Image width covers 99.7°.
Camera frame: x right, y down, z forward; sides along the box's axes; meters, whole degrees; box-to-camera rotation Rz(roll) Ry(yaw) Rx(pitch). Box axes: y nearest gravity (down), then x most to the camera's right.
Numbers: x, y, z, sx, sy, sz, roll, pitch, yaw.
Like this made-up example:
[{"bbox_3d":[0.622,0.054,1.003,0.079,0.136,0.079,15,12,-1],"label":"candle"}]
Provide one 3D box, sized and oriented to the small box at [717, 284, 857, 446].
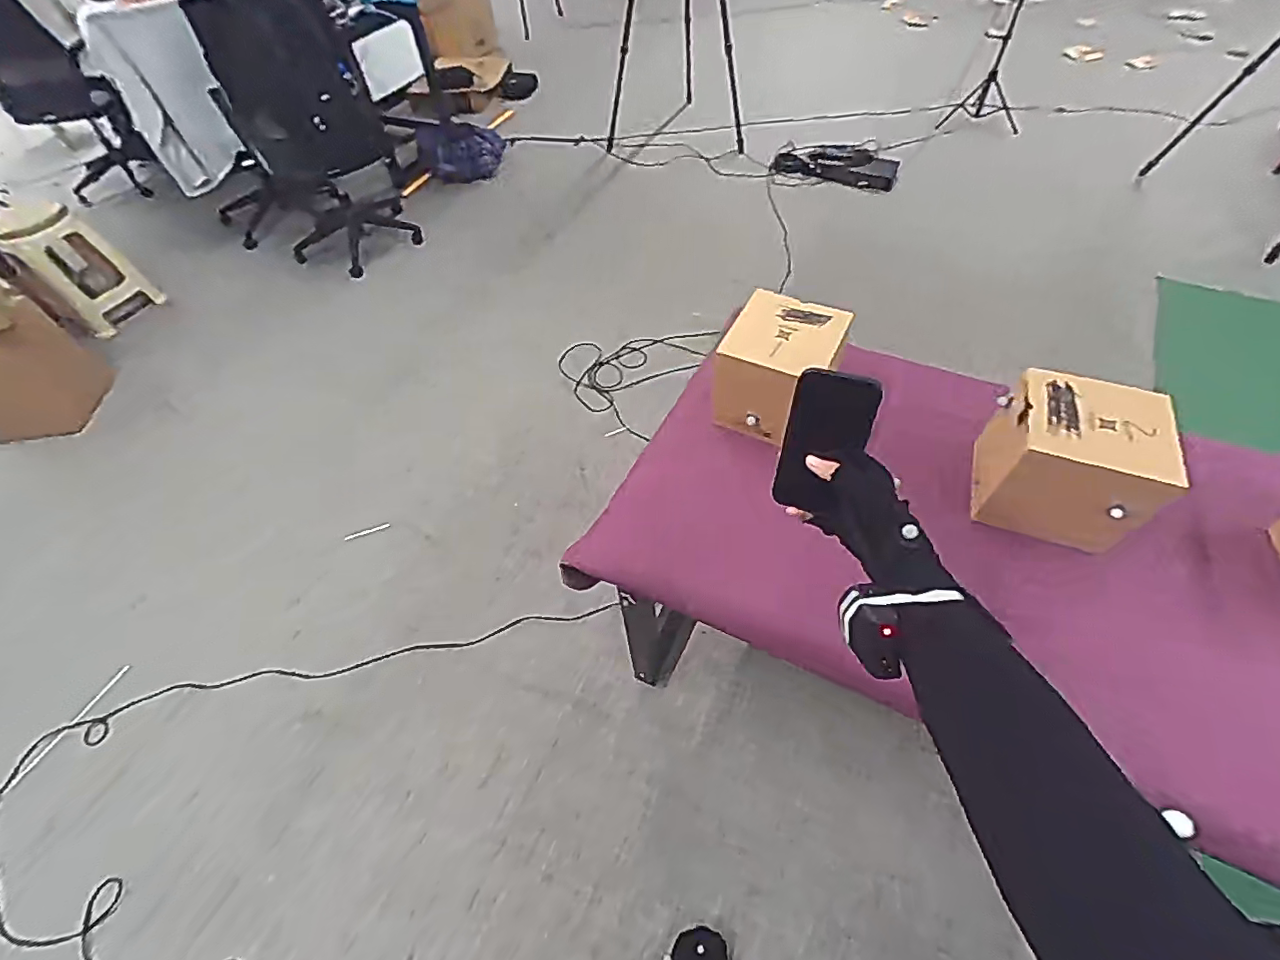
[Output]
[{"bbox_3d":[0.235,-0.190,0.902,0.168,0.176,0.179,23,60,19],"label":"small box"}]
